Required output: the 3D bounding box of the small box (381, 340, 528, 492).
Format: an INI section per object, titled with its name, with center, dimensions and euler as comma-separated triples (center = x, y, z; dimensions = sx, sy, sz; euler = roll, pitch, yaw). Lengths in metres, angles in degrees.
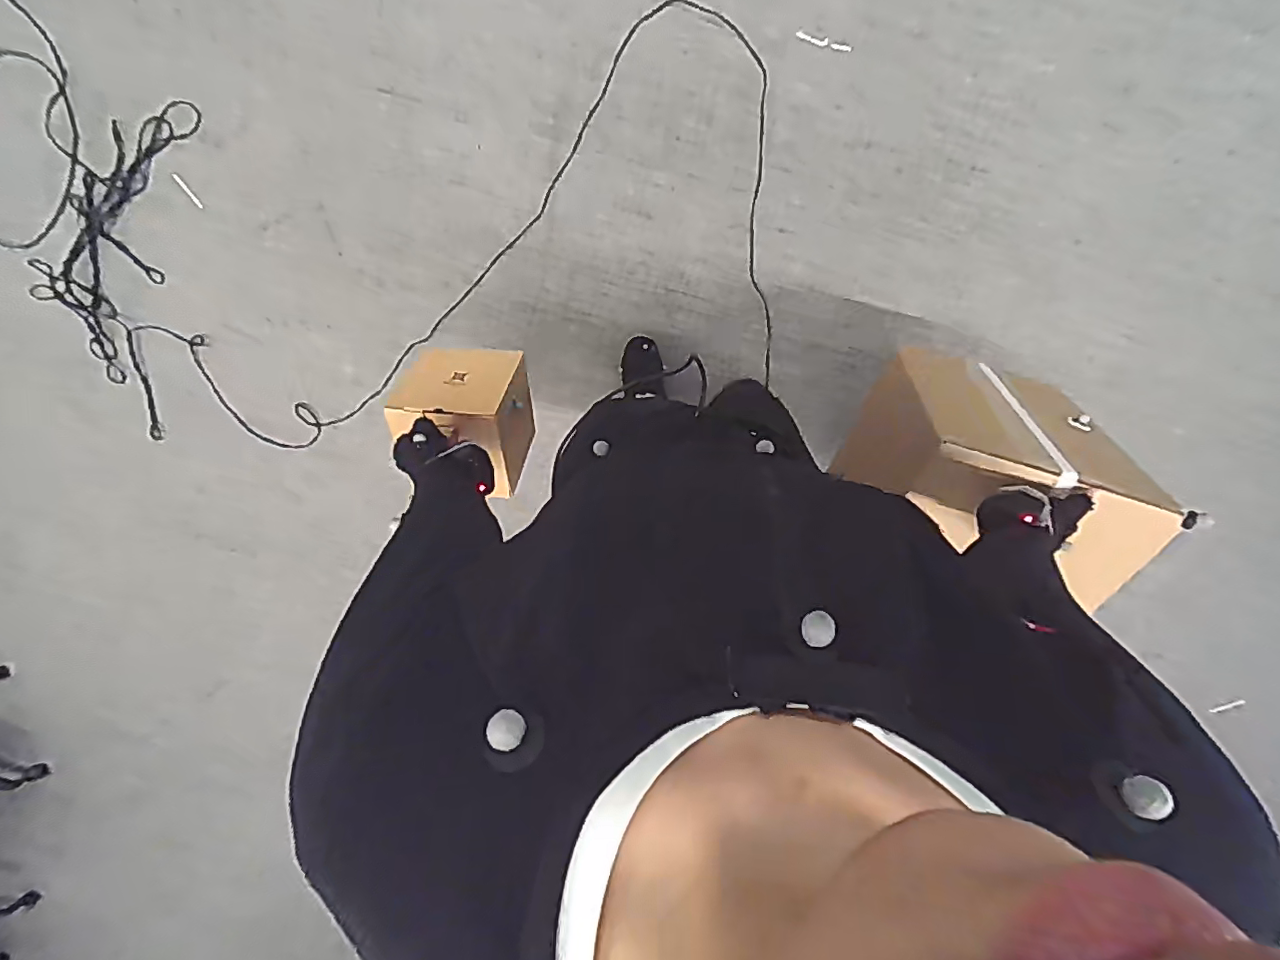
[small box]
center = -0.285, -0.105, 0.878
dimensions = 0.168, 0.179, 0.176
euler = 5, 136, 2
